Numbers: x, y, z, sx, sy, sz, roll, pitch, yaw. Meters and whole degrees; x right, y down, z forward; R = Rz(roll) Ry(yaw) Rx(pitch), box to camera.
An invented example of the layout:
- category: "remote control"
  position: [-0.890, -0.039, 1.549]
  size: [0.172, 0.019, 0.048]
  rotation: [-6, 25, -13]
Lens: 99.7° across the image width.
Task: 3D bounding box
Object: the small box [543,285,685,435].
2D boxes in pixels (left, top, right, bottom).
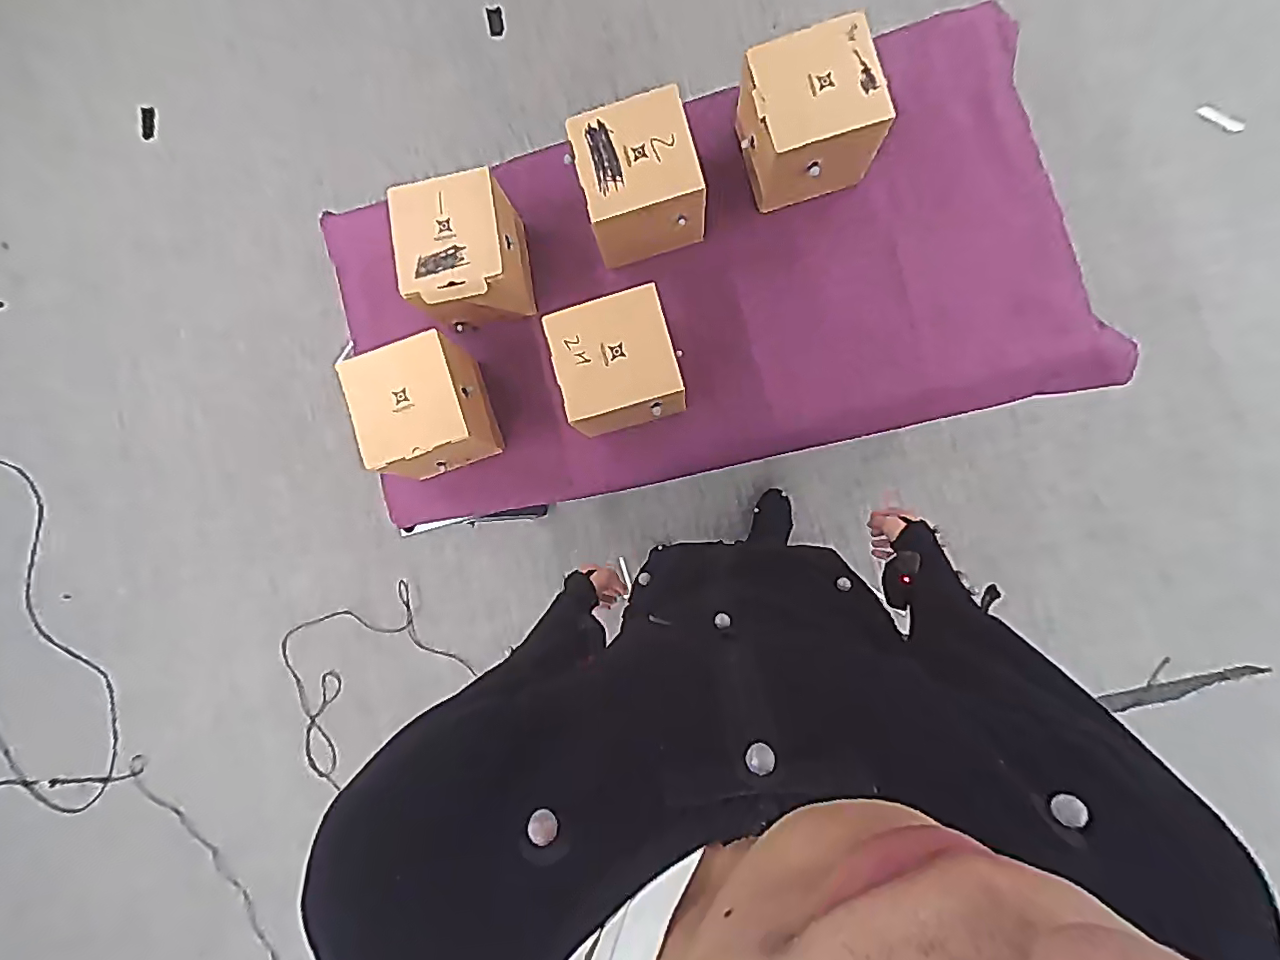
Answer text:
- category: "small box"
  position: [-0.032, -0.177, 0.854]
  size: [0.179, 0.176, 0.168]
  rotation: [-15, 86, 5]

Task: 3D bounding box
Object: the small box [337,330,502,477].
- category: "small box"
  position: [-0.347, -0.113, 0.880]
  size: [0.168, 0.176, 0.179]
  rotation: [-19, 86, 2]

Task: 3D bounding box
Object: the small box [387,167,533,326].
- category: "small box"
  position: [-0.285, -0.367, 0.889]
  size: [0.168, 0.176, 0.179]
  rotation: [-10, 86, 4]
